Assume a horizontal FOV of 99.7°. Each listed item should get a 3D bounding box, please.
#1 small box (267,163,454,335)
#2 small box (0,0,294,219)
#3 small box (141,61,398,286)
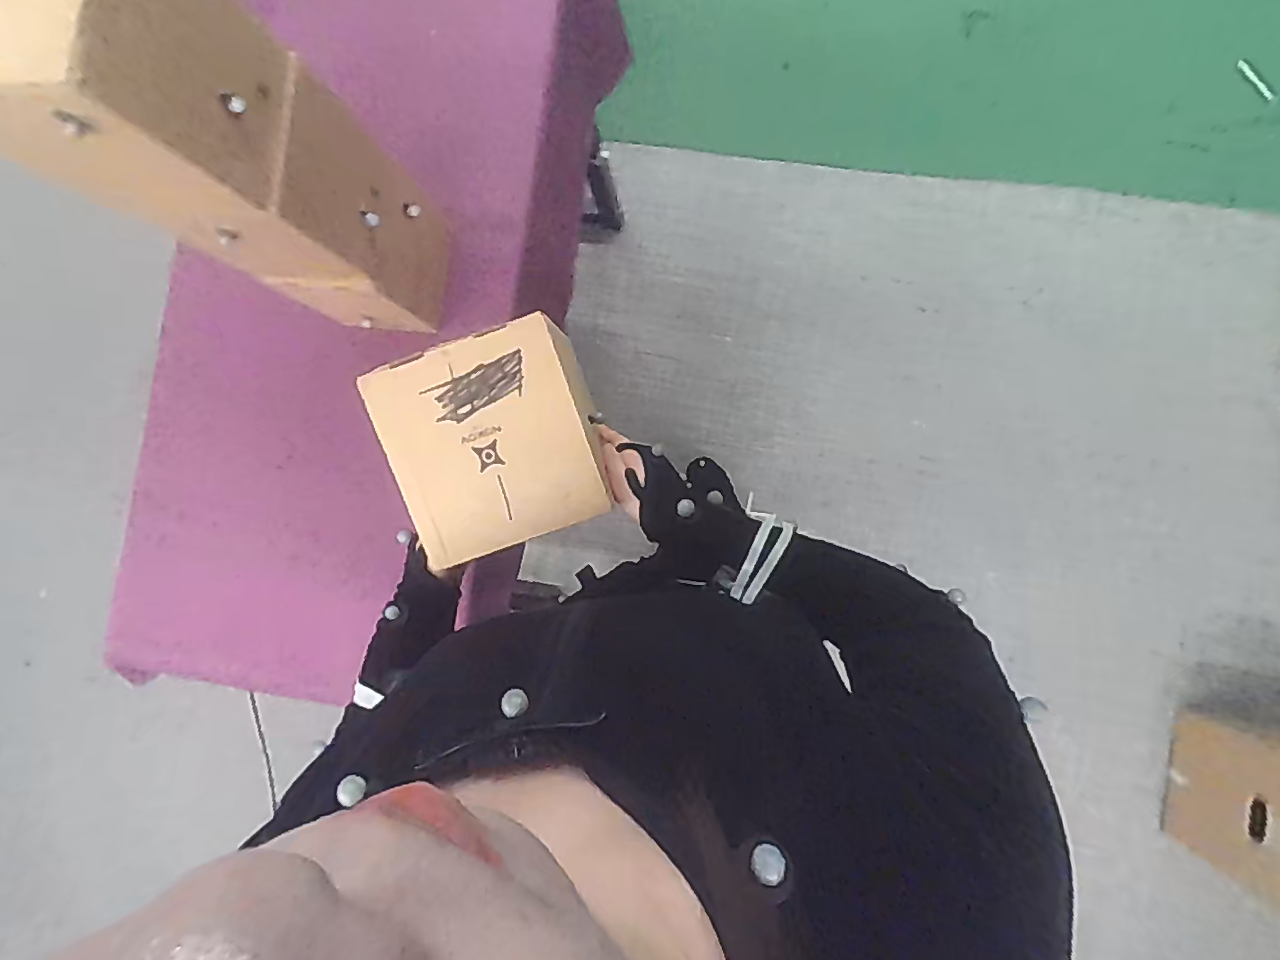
[{"bbox_3d":[-0.389,-0.328,0.781,0.168,0.176,0.179,7,88,8],"label":"small box"},{"bbox_3d":[-0.441,-0.344,0.460,0.179,0.176,0.168,4,88,7],"label":"small box"},{"bbox_3d":[-0.413,-0.337,0.620,0.179,0.176,0.168,6,88,7],"label":"small box"}]
